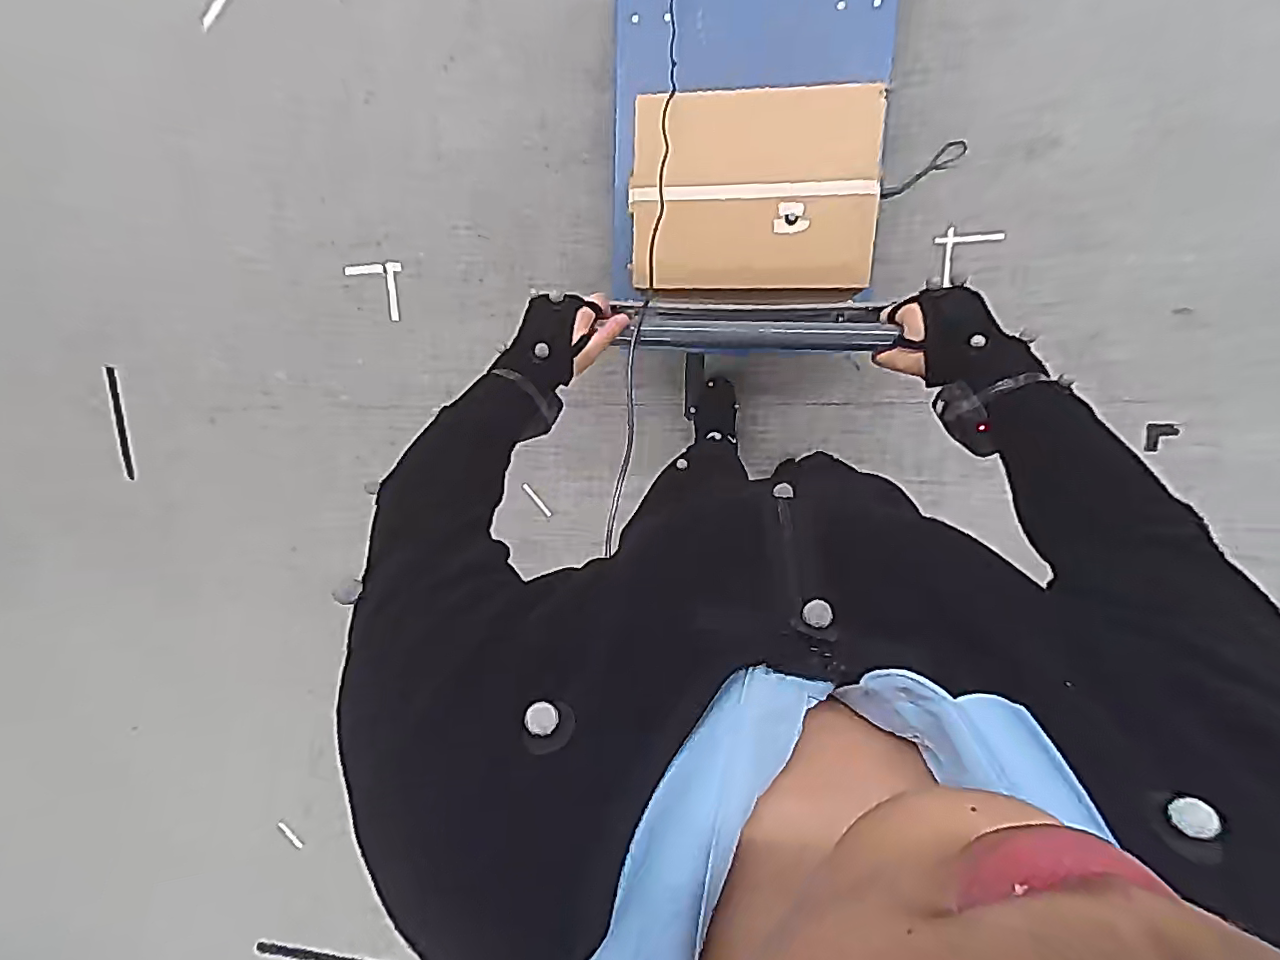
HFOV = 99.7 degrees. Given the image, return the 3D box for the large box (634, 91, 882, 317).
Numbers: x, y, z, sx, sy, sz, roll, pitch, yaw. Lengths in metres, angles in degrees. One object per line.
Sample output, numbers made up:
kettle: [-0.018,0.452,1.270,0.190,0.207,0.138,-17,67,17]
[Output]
large box: [0.205,-0.499,1.054,0.408,0.320,0.320,3,101,7]
